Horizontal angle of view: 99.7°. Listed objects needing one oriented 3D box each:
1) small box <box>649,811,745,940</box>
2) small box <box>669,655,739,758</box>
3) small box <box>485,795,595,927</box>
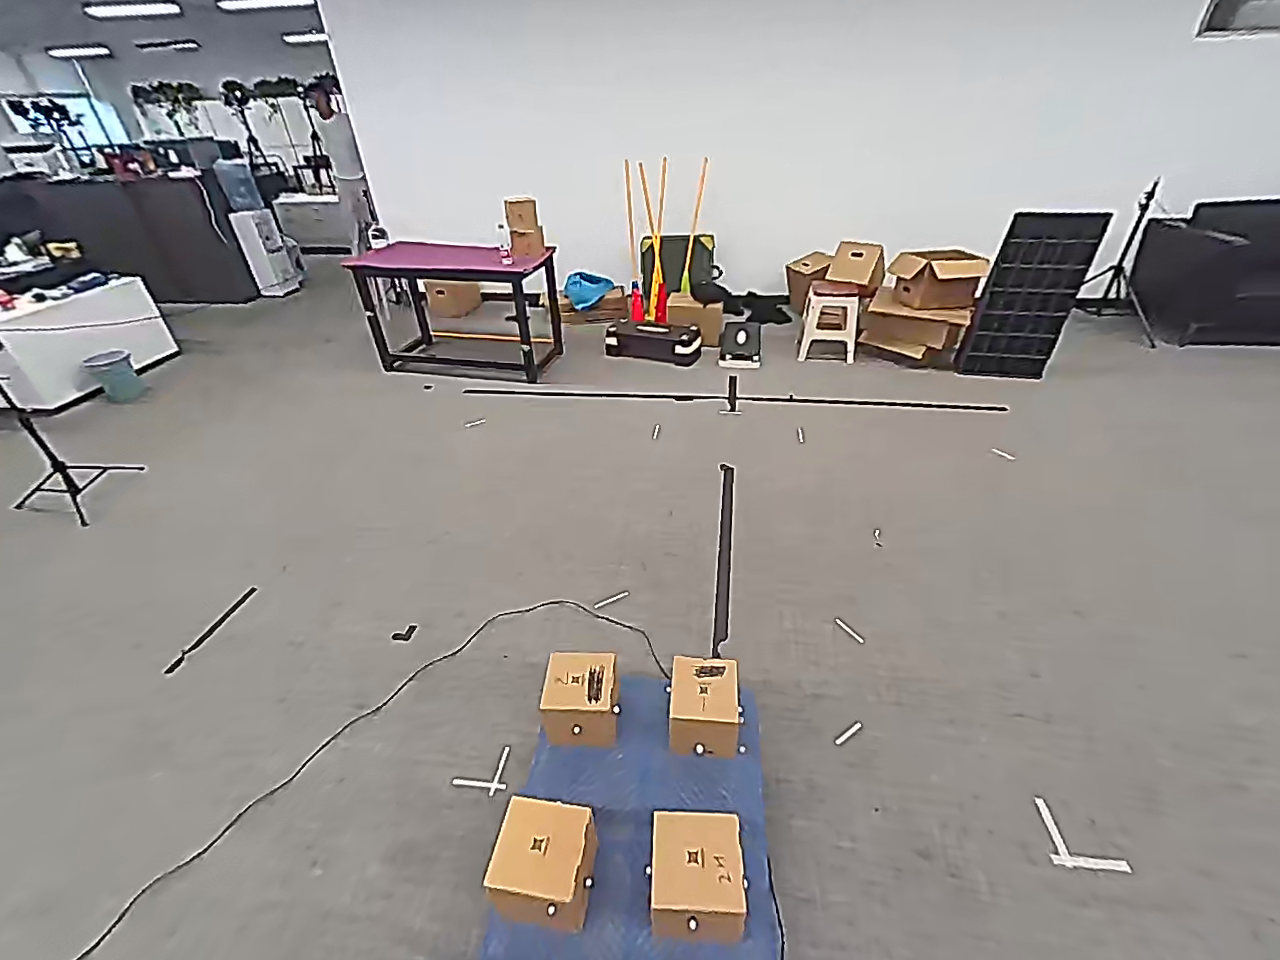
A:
[{"bbox_3d":[0.113,0.794,1.087,0.179,0.176,0.168,0,35,4],"label":"small box"},{"bbox_3d":[0.164,0.579,1.387,0.168,0.176,0.179,2,37,7],"label":"small box"},{"bbox_3d":[-0.196,0.786,1.116,0.179,0.176,0.168,5,36,7],"label":"small box"}]
